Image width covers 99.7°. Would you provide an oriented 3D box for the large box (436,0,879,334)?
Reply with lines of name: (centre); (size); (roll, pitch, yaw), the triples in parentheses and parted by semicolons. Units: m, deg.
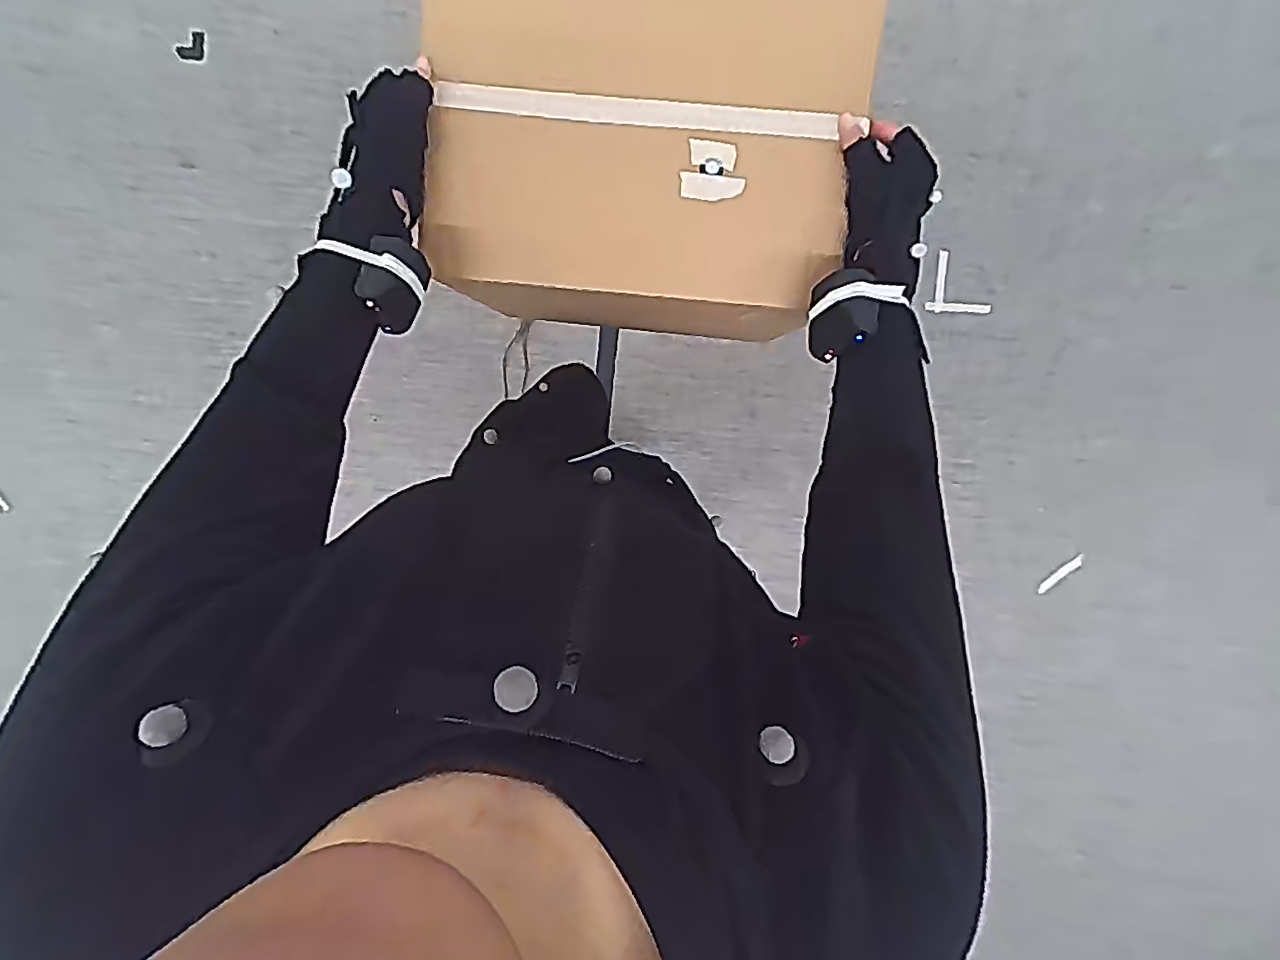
large box: (0.009, -0.361, 0.649); (0.408, 0.320, 0.320); (5, 100, 0)
